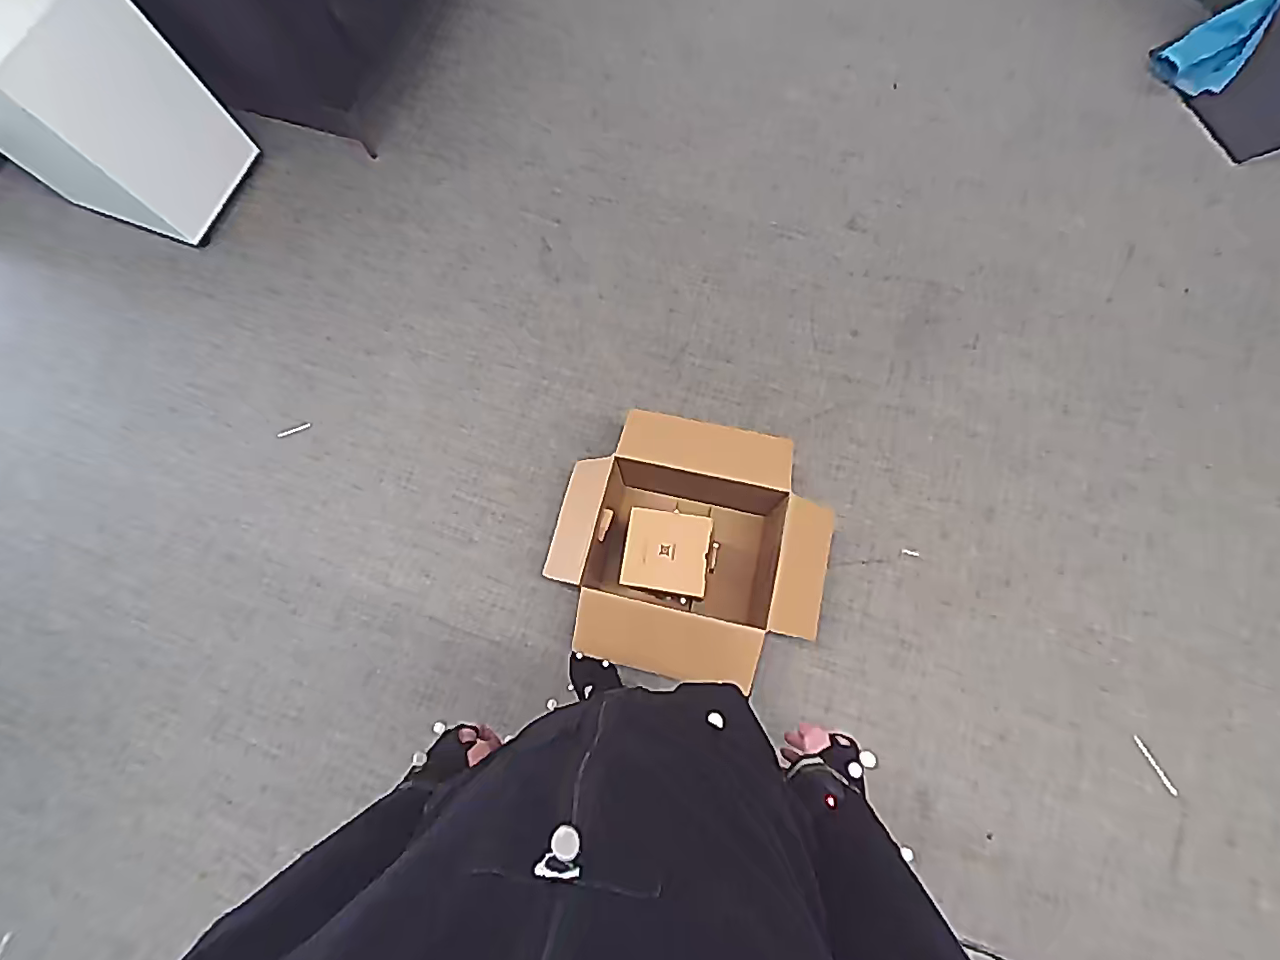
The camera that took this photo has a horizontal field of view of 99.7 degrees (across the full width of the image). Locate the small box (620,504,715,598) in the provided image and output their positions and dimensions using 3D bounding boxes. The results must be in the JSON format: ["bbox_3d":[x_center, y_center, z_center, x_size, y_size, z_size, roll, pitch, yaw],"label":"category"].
[{"bbox_3d":[0.068,0.162,1.191,0.179,0.176,0.168,7,74,11],"label":"small box"}]
